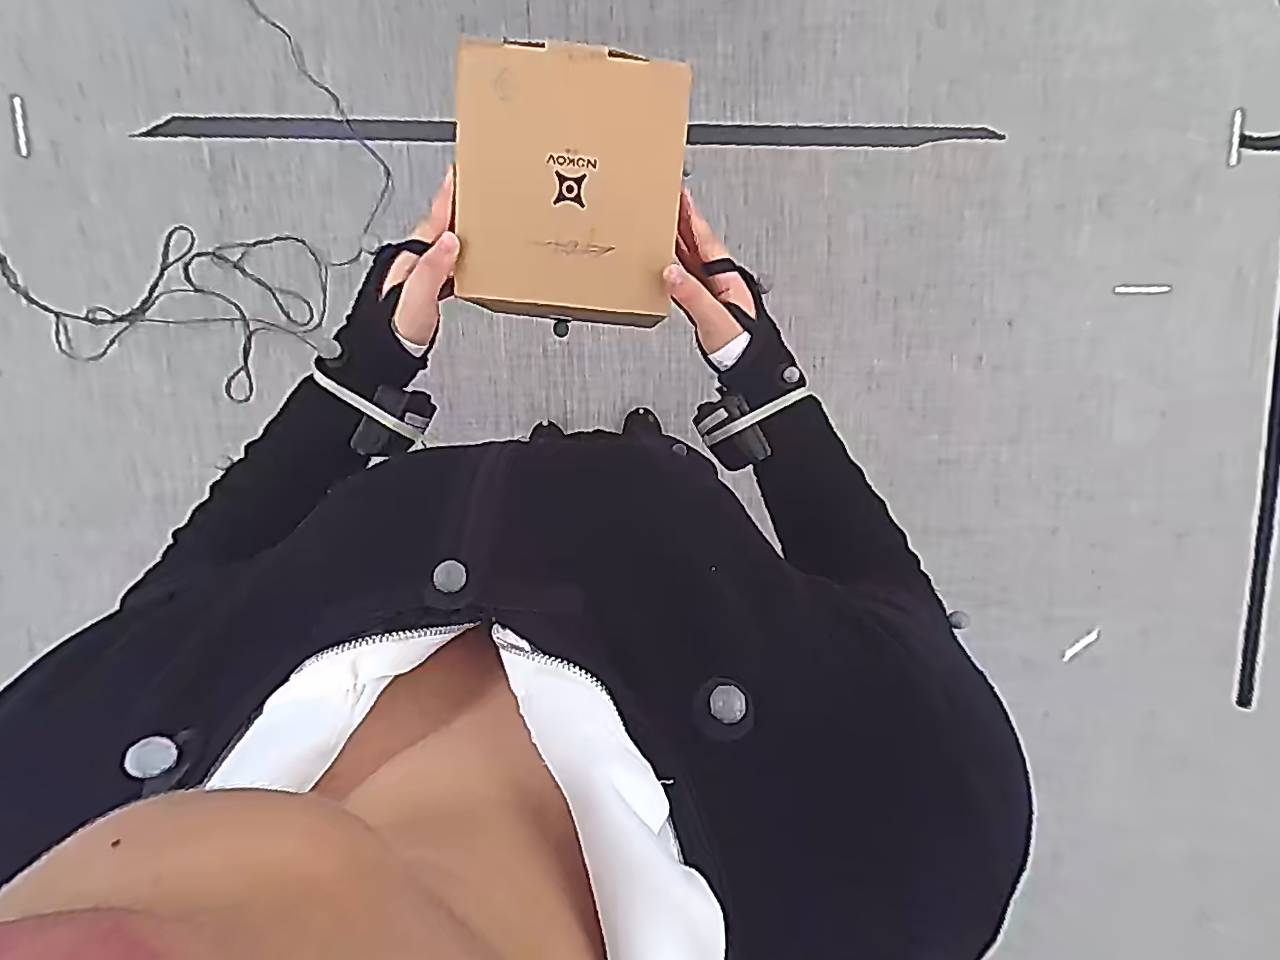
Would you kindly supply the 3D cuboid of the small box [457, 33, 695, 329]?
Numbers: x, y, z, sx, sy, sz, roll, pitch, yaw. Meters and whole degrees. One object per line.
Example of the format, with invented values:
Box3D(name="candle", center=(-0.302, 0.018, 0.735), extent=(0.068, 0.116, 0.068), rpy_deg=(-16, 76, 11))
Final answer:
Box3D(name="small box", center=(-0.054, -0.236, 0.476), extent=(0.168, 0.176, 0.179), rpy_deg=(5, 102, -4))
